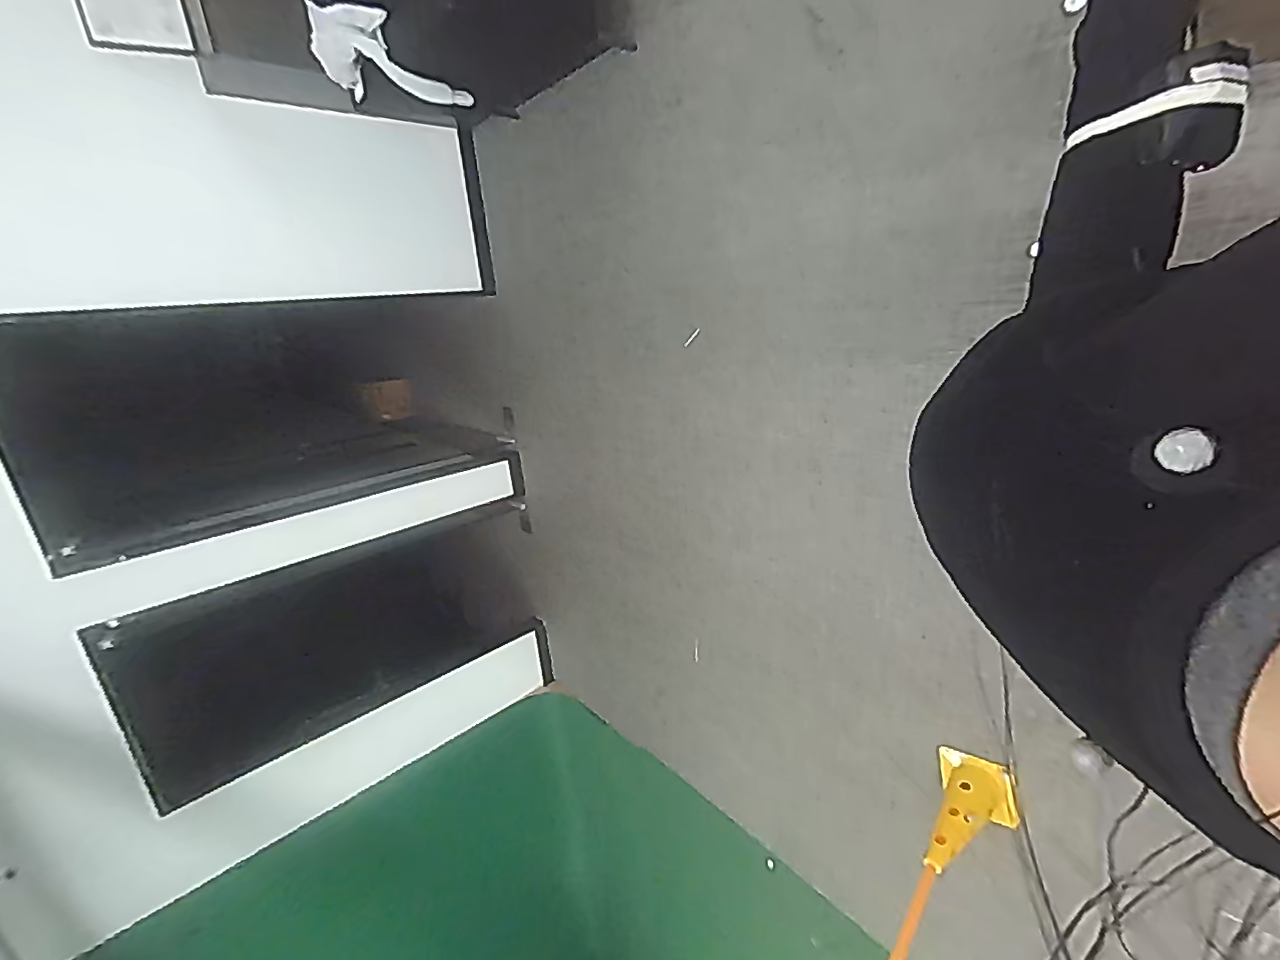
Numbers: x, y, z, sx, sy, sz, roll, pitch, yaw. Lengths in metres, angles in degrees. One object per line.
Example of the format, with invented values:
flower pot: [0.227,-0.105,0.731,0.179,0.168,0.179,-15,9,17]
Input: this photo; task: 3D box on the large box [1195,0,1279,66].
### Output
large box: [0.571,-0.455,0.242,0.408,0.320,0.320,14,118,42]
